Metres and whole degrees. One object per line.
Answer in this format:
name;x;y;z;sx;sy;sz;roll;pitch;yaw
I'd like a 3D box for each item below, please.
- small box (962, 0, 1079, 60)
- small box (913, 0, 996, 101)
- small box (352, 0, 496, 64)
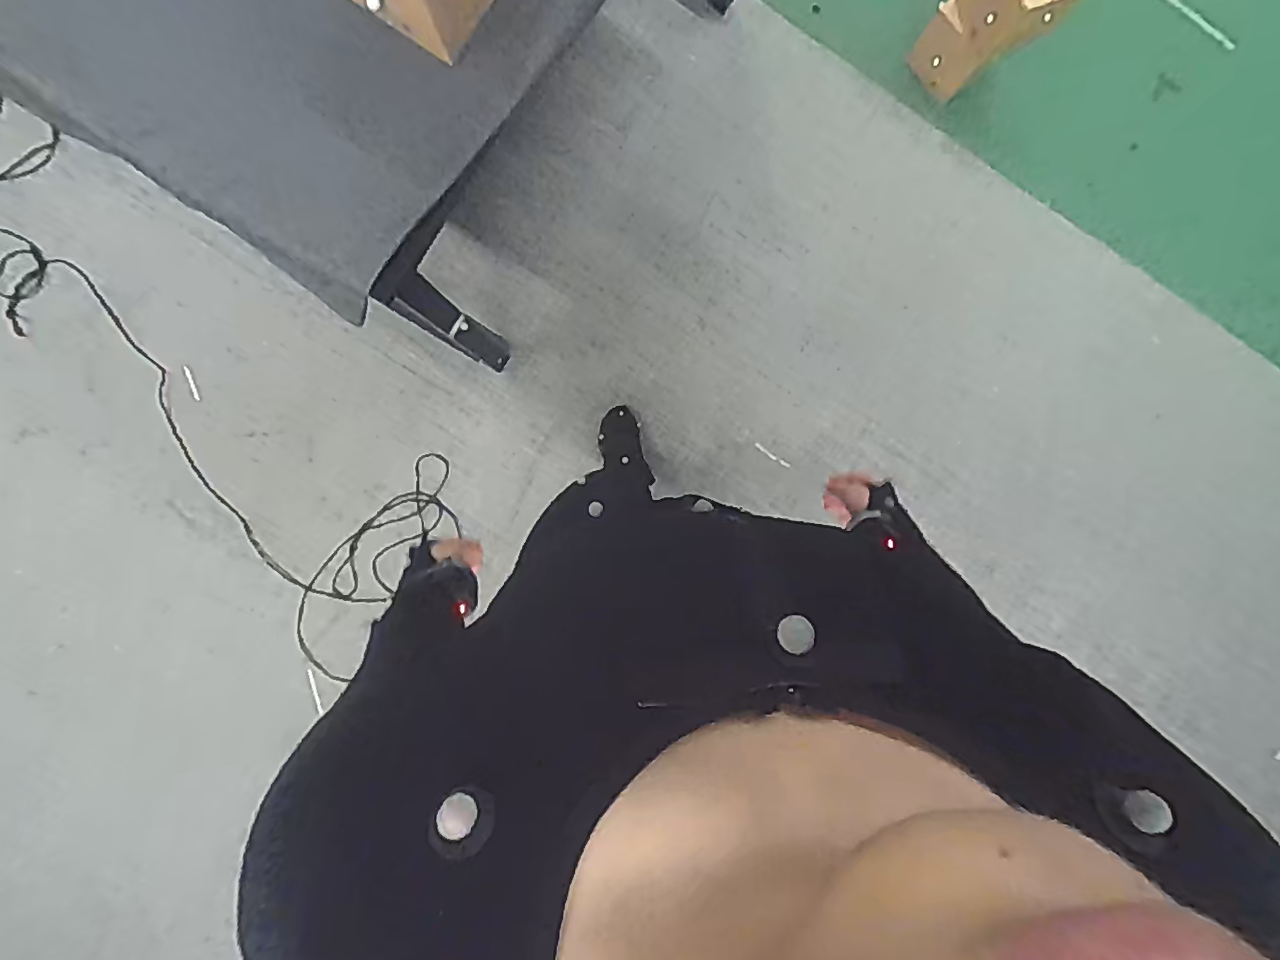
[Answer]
small box;0.863;-1.099;1.216;0.179;0.176;0.168;-20;94;-2
small box;0.833;-1.127;1.377;0.179;0.176;0.168;-41;94;0
small box;-0.264;-0.648;0.619;0.168;0.176;0.179;33;91;-2
